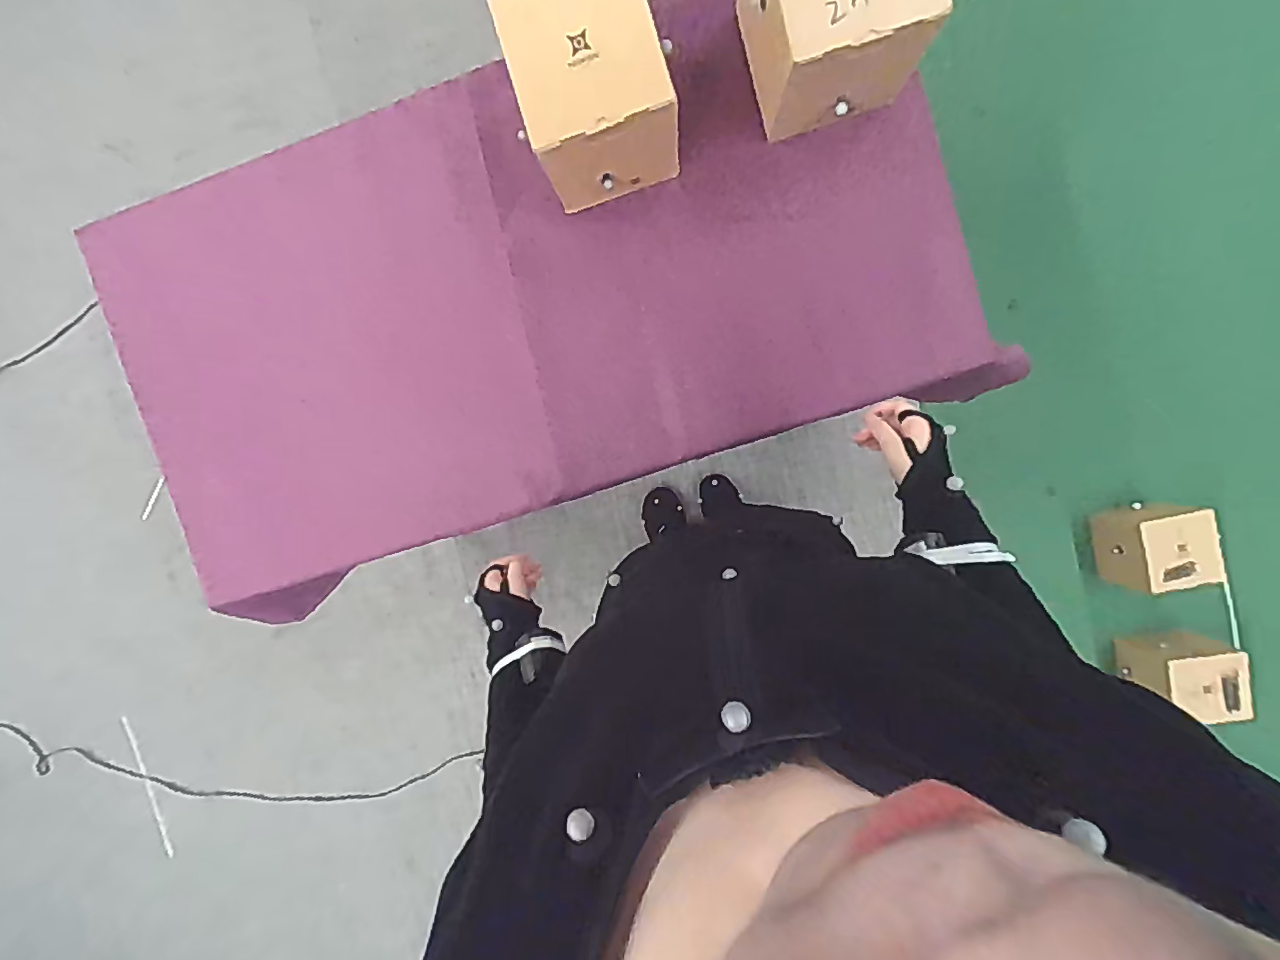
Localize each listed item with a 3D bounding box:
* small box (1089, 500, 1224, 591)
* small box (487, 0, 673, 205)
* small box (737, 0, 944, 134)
[{"bbox_3d":[1.262,0.156,1.333,0.168,0.176,0.179,-12,92,5],"label":"small box"},{"bbox_3d":[-0.062,-0.477,0.662,0.168,0.176,0.179,-17,94,6],"label":"small box"},{"bbox_3d":[0.215,-0.550,0.627,0.168,0.176,0.179,-14,96,7],"label":"small box"}]
